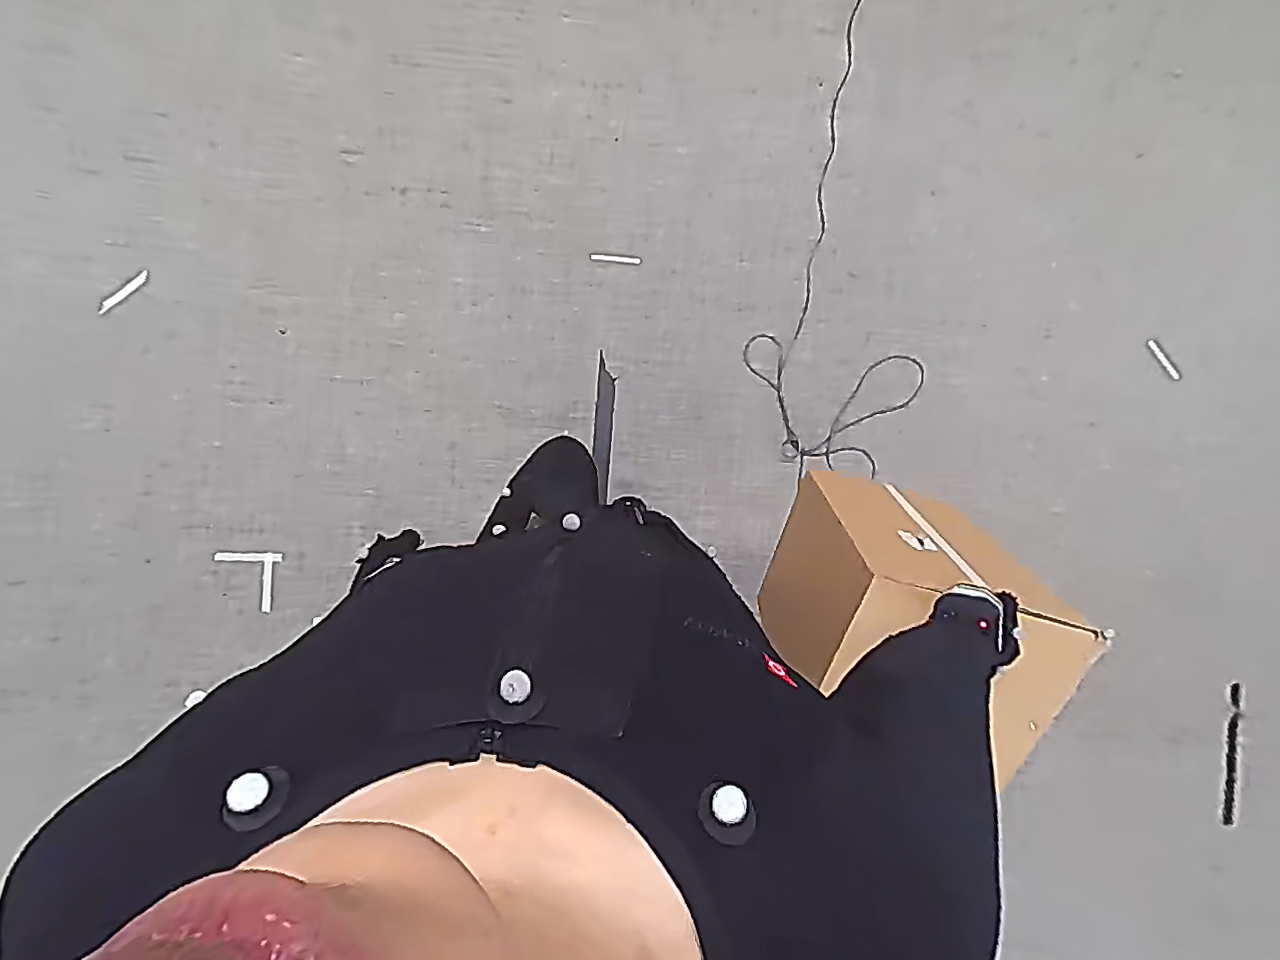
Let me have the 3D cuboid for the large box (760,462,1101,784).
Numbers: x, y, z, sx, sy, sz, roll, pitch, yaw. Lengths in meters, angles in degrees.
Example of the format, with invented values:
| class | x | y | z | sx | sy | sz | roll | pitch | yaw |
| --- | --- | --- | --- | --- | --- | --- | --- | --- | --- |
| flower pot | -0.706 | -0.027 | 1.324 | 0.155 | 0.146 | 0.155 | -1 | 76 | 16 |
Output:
| class | x | y | z | sx | sy | sz | roll | pitch | yaw |
| --- | --- | --- | --- | --- | --- | --- | --- | --- | --- |
| large box | 0.426 | 0.214 | 0.931 | 0.320 | 0.408 | 0.320 | 15 | 114 | -1 |
